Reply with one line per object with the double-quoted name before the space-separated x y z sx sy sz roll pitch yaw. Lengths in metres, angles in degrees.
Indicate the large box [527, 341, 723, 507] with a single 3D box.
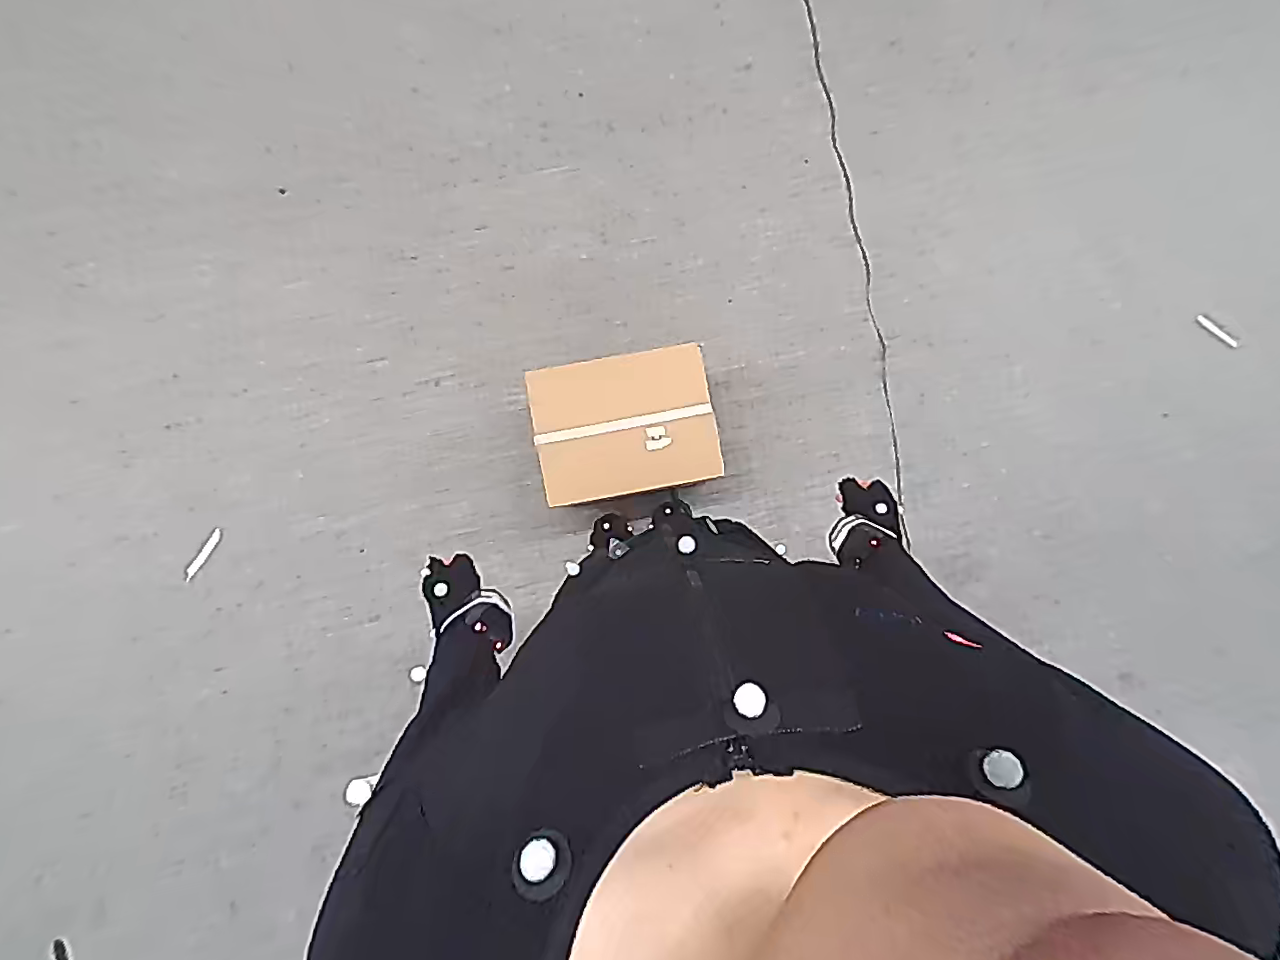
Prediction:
"large box" -0.039 -0.121 1.372 0.408 0.320 0.320 -11 88 -2
